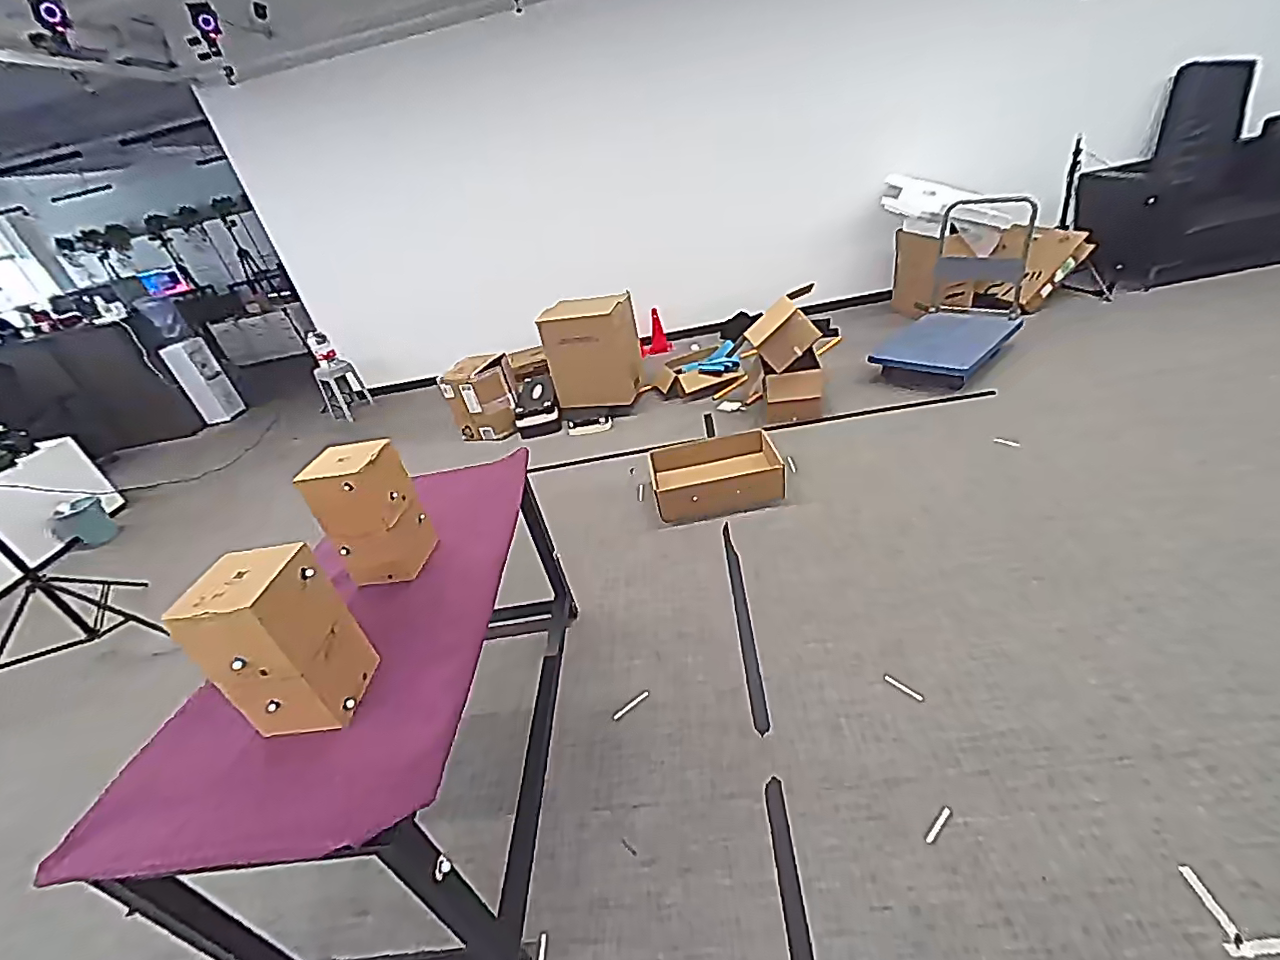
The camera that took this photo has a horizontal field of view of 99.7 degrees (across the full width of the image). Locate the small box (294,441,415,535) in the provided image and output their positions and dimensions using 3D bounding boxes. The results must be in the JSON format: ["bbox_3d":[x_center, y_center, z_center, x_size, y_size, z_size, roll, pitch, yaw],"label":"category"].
[{"bbox_3d":[-0.698,0.023,1.344,0.179,0.176,0.168,-7,32,8],"label":"small box"}]

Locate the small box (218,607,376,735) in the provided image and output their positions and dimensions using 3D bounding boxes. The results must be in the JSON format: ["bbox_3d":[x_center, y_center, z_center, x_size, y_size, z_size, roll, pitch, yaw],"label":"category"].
[{"bbox_3d":[-0.663,0.379,1.074,0.179,0.176,0.168,-9,31,6],"label":"small box"}]

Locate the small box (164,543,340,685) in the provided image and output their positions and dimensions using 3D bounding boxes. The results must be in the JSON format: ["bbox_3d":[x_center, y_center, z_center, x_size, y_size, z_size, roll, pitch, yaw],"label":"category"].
[{"bbox_3d":[-0.685,0.242,0.985,0.168,0.176,0.179,-9,31,6],"label":"small box"}]
